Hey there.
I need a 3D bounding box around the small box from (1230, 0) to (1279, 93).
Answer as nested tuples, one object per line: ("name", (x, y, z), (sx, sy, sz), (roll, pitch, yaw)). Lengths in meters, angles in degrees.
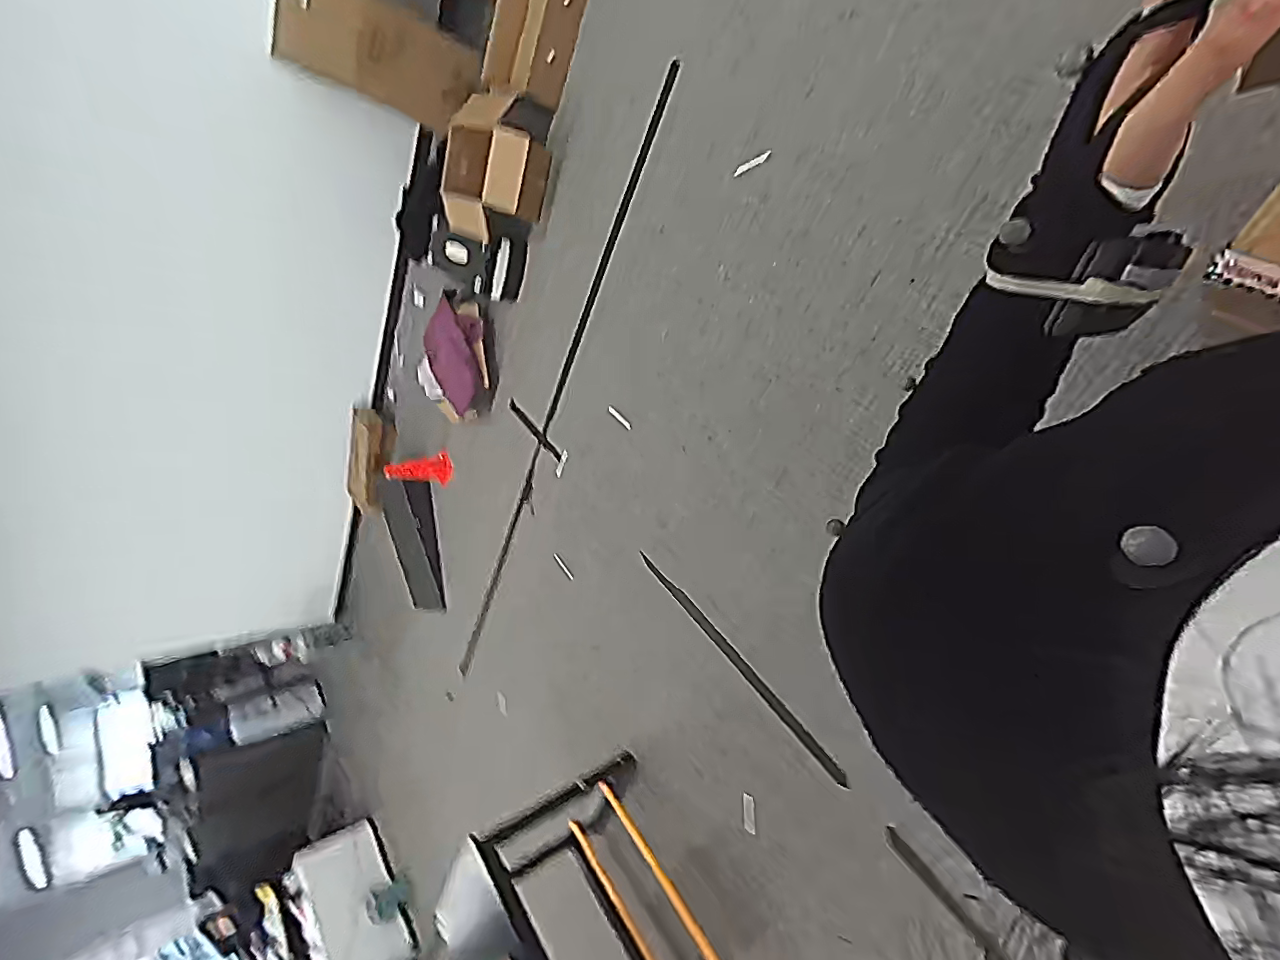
("small box", (0.363, -0.286, 0.203), (0.168, 0.176, 0.179), (10, 114, 41))
